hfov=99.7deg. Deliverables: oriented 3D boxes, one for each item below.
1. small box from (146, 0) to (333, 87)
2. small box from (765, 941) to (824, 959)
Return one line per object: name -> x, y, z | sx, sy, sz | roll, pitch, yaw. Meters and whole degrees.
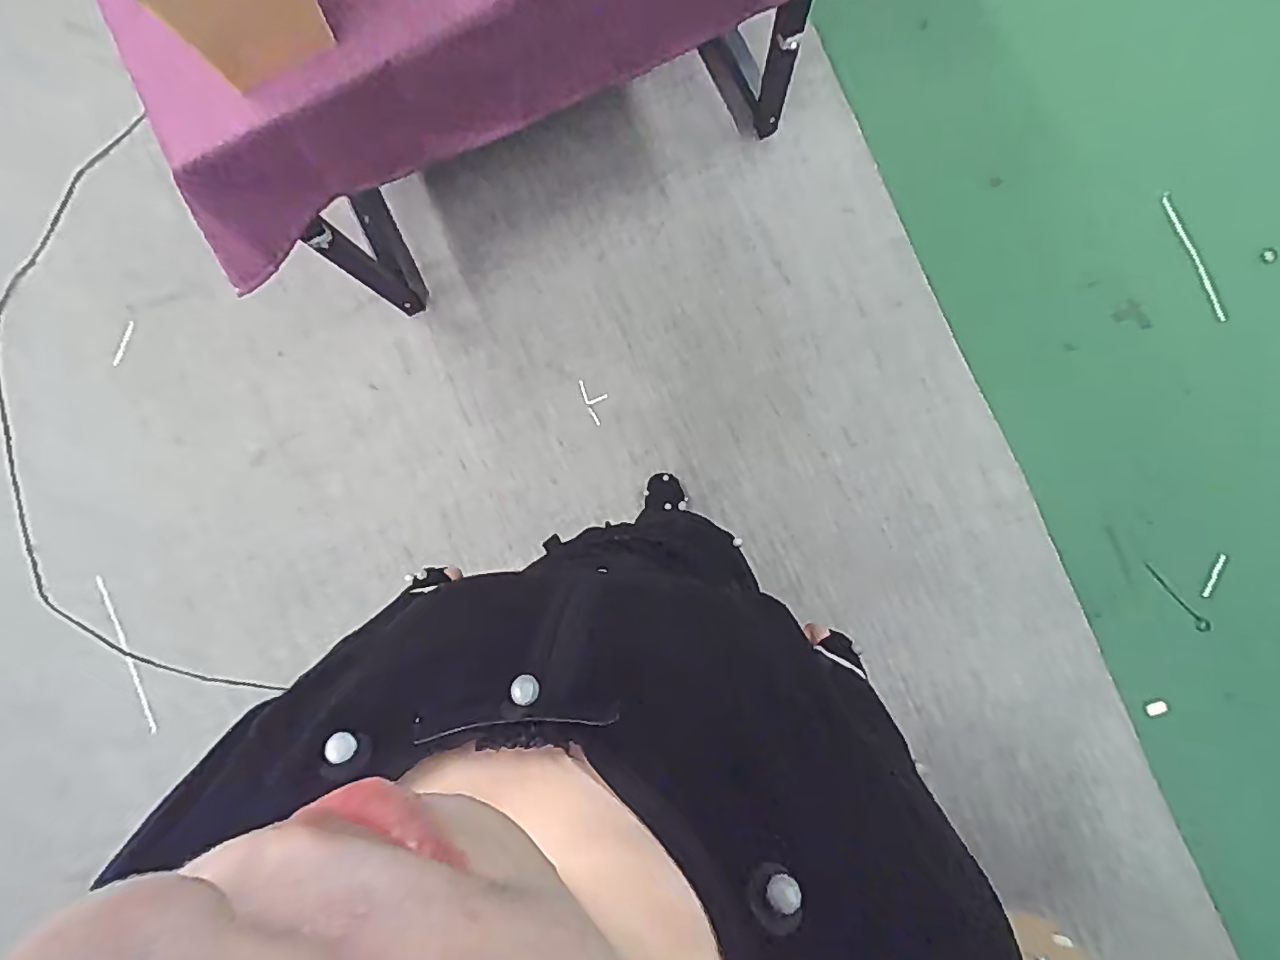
small box -> -0.580, -0.707, 0.756 | 0.179, 0.176, 0.168 | -25, 86, 1
small box -> 0.287, 0.933, 0.898 | 0.168, 0.176, 0.179 | 17, 88, 3
